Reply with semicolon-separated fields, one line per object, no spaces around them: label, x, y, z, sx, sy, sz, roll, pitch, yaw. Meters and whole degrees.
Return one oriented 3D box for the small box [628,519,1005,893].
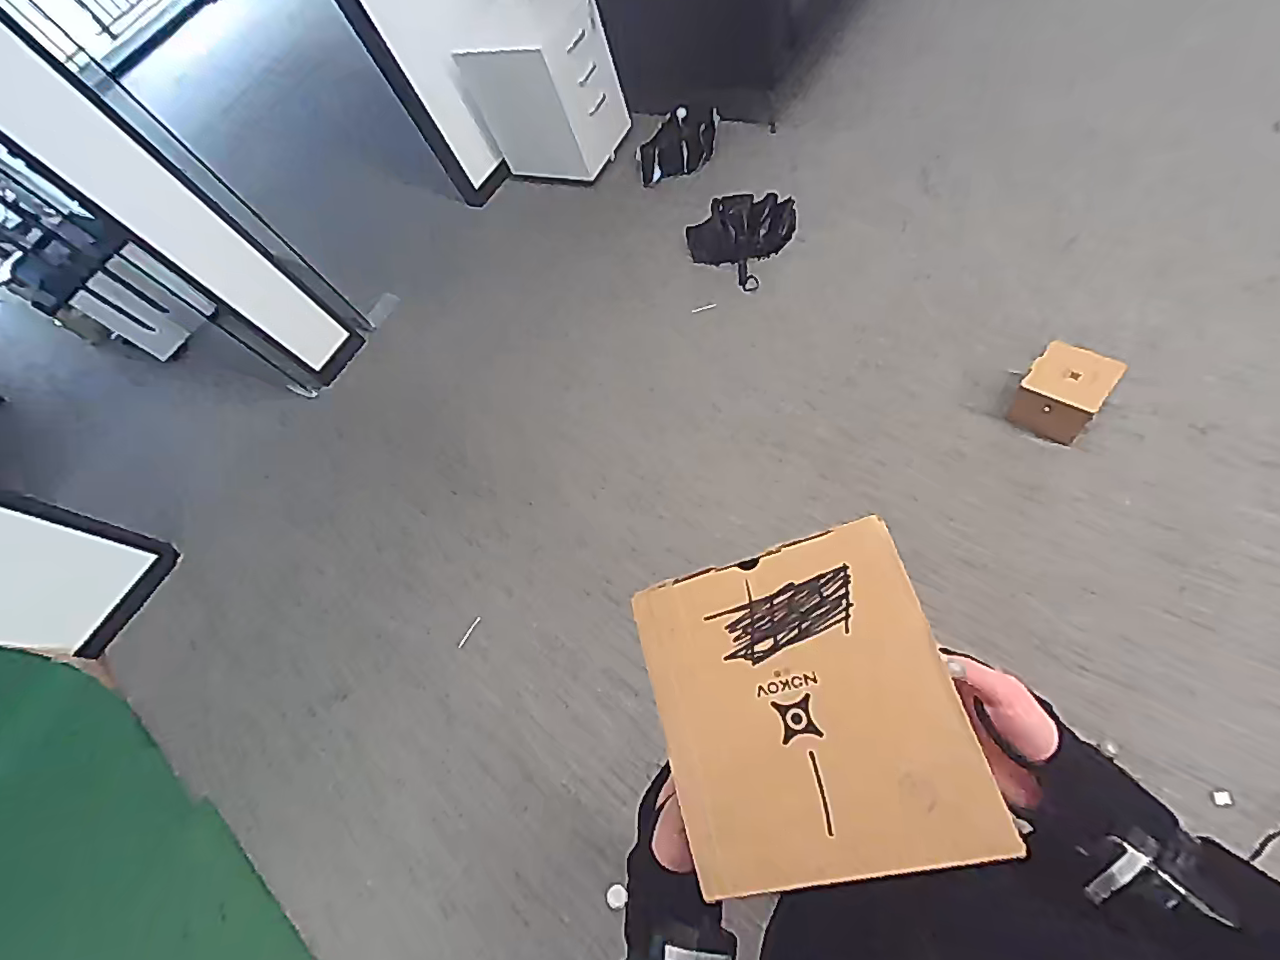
small box;0.112;0.146;0.379;0.168;0.176;0.179;-21;69;17

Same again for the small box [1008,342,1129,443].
small box;1.117;-0.226;1.428;0.179;0.176;0.168;35;80;29
